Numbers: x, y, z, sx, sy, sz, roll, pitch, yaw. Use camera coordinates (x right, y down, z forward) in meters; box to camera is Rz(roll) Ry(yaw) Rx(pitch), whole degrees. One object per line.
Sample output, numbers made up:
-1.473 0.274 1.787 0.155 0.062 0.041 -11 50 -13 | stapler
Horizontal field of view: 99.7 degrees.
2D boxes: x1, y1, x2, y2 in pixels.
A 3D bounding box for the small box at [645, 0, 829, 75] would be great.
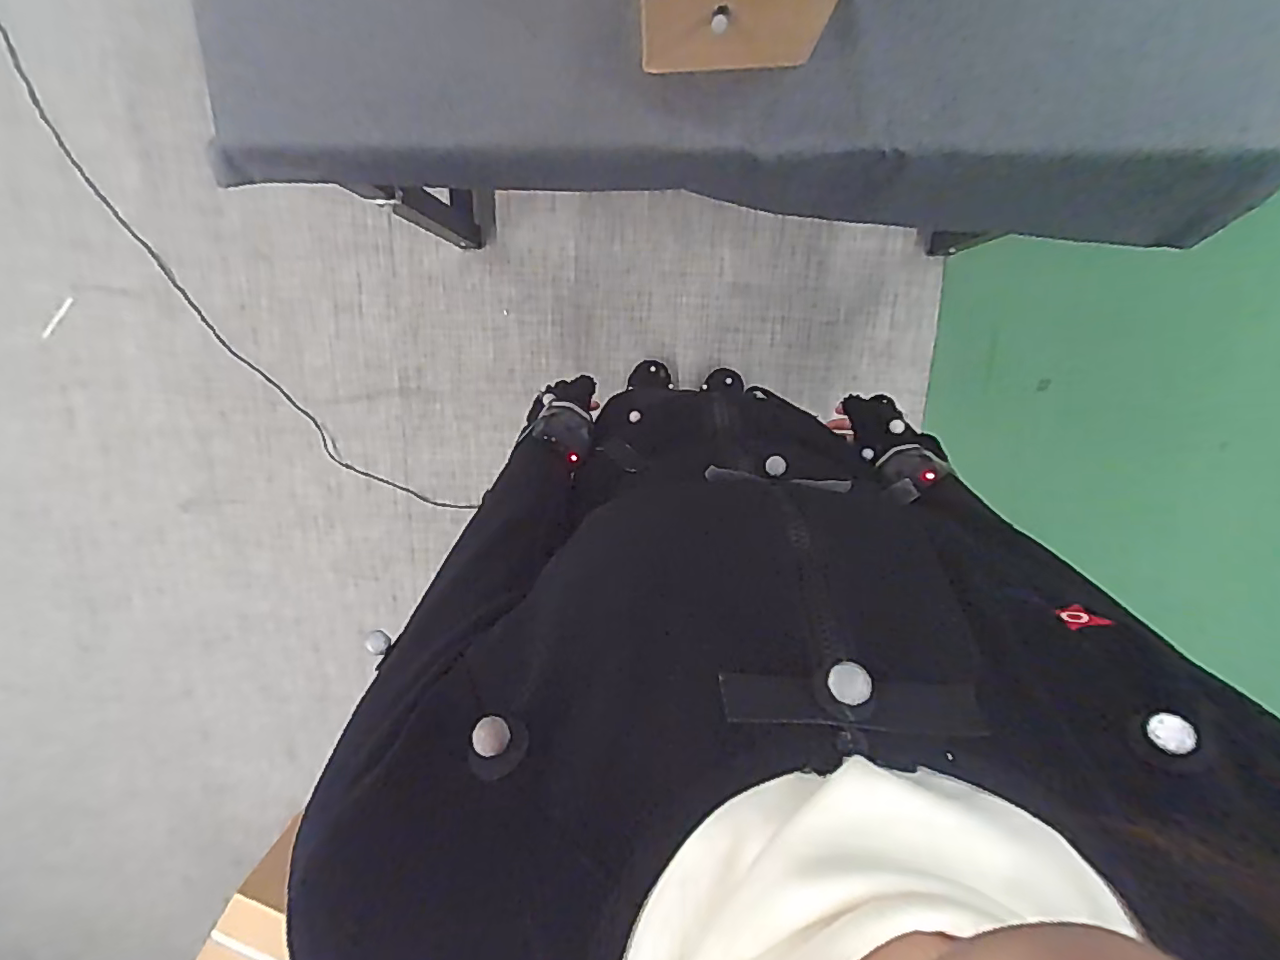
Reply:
0.088 -0.509 0.496 0.179 0.176 0.168 -5 100 3 | small box
